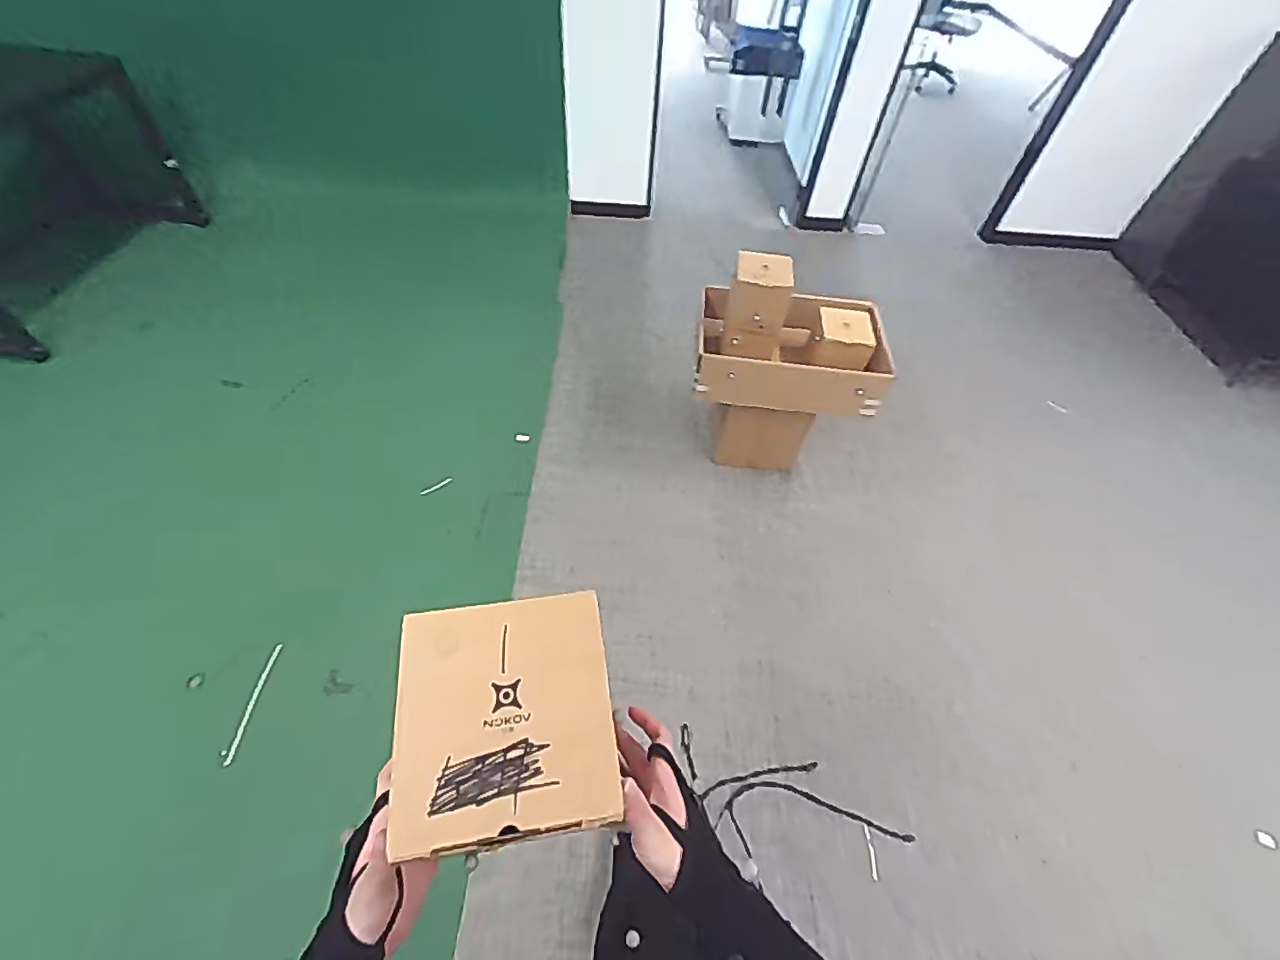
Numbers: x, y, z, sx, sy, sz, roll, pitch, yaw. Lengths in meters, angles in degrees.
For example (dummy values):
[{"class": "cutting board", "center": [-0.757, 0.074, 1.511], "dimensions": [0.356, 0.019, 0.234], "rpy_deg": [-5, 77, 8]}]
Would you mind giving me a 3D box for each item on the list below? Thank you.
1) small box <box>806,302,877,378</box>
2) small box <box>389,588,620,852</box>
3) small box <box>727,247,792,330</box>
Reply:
[{"class": "small box", "center": [0.667, -0.468, 1.812], "dimensions": [0.168, 0.176, 0.179], "rpy_deg": [6, 53, 1]}, {"class": "small box", "center": [-0.108, 0.218, 0.489], "dimensions": [0.168, 0.176, 0.179], "rpy_deg": [-5, 56, -8]}, {"class": "small box", "center": [0.368, -0.596, 1.681], "dimensions": [0.168, 0.176, 0.179], "rpy_deg": [7, 52, 3]}]
